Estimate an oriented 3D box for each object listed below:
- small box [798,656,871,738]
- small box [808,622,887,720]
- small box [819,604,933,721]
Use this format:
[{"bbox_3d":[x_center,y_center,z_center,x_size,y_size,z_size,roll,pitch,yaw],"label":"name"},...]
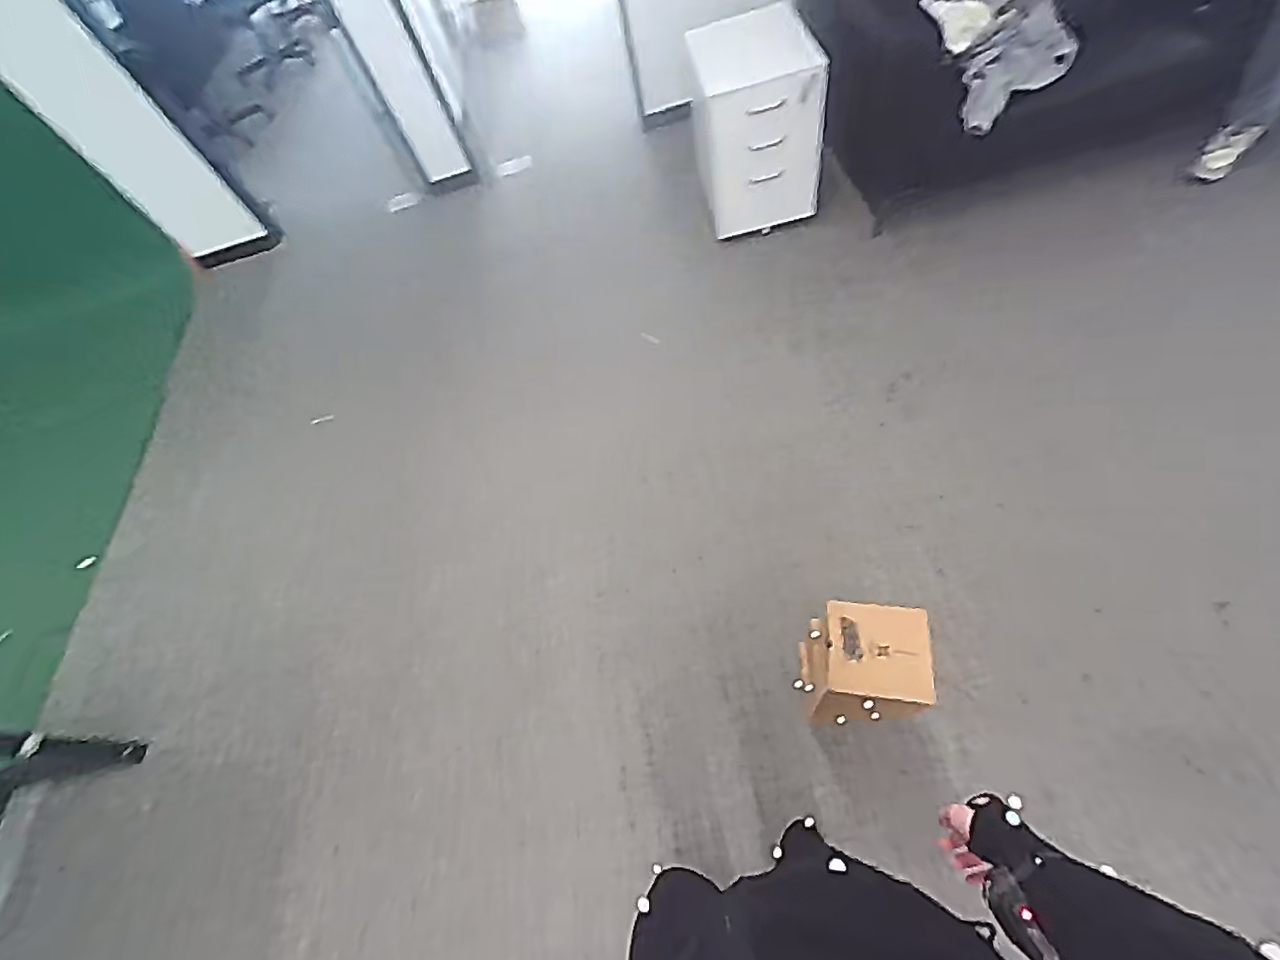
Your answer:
[{"bbox_3d":[0.502,0.497,1.315,0.168,0.176,0.179,-32,56,-9],"label":"small box"},{"bbox_3d":[0.465,0.422,1.184,0.168,0.176,0.179,-2,58,11],"label":"small box"},{"bbox_3d":[0.443,0.352,1.033,0.179,0.176,0.168,7,63,16],"label":"small box"}]
